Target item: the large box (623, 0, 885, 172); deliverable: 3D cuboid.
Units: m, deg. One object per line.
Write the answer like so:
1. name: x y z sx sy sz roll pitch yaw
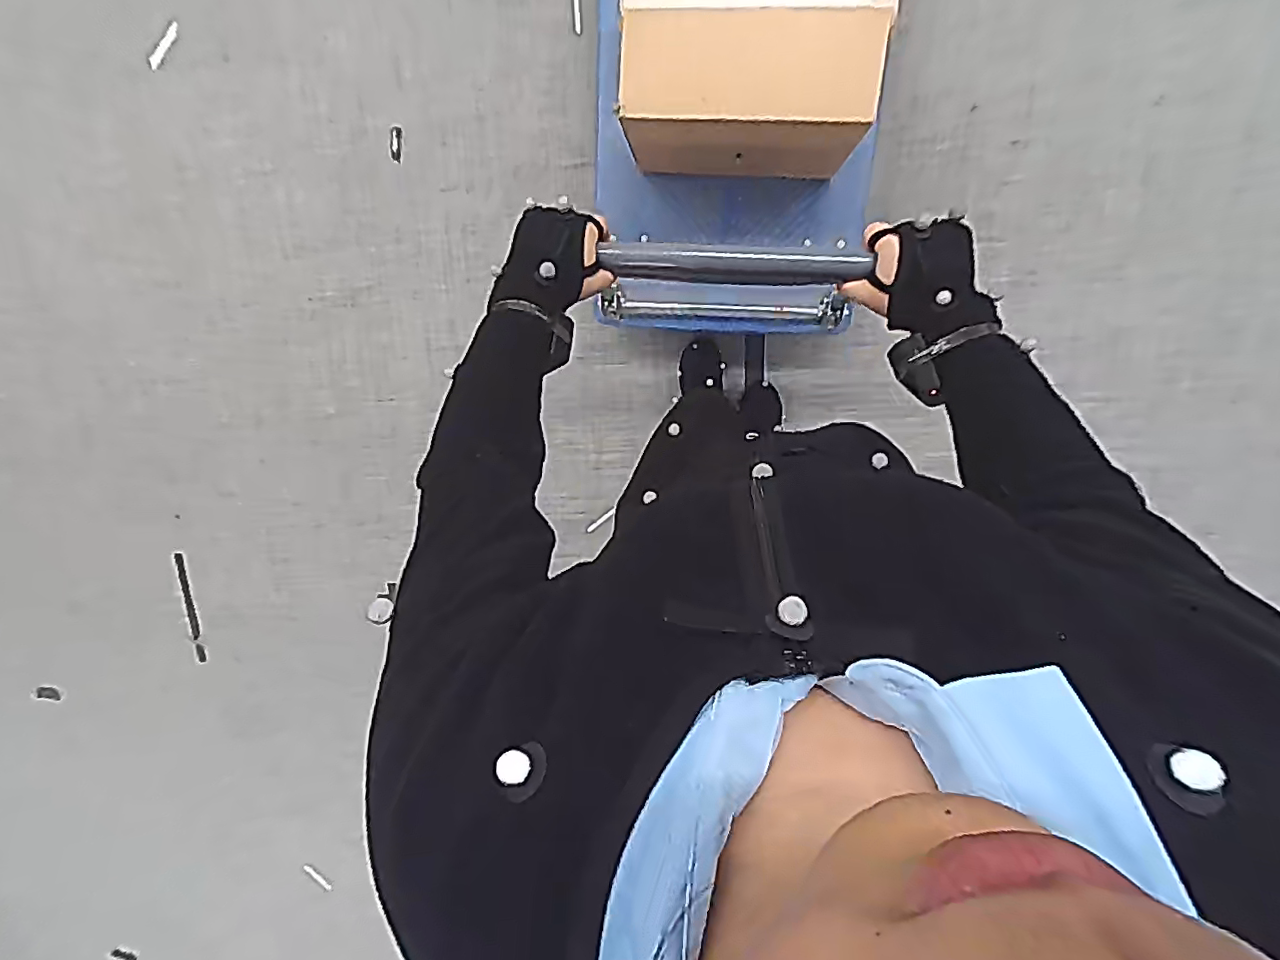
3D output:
1. large box: 0.195 -0.768 0.978 0.408 0.320 0.320 5 104 7
